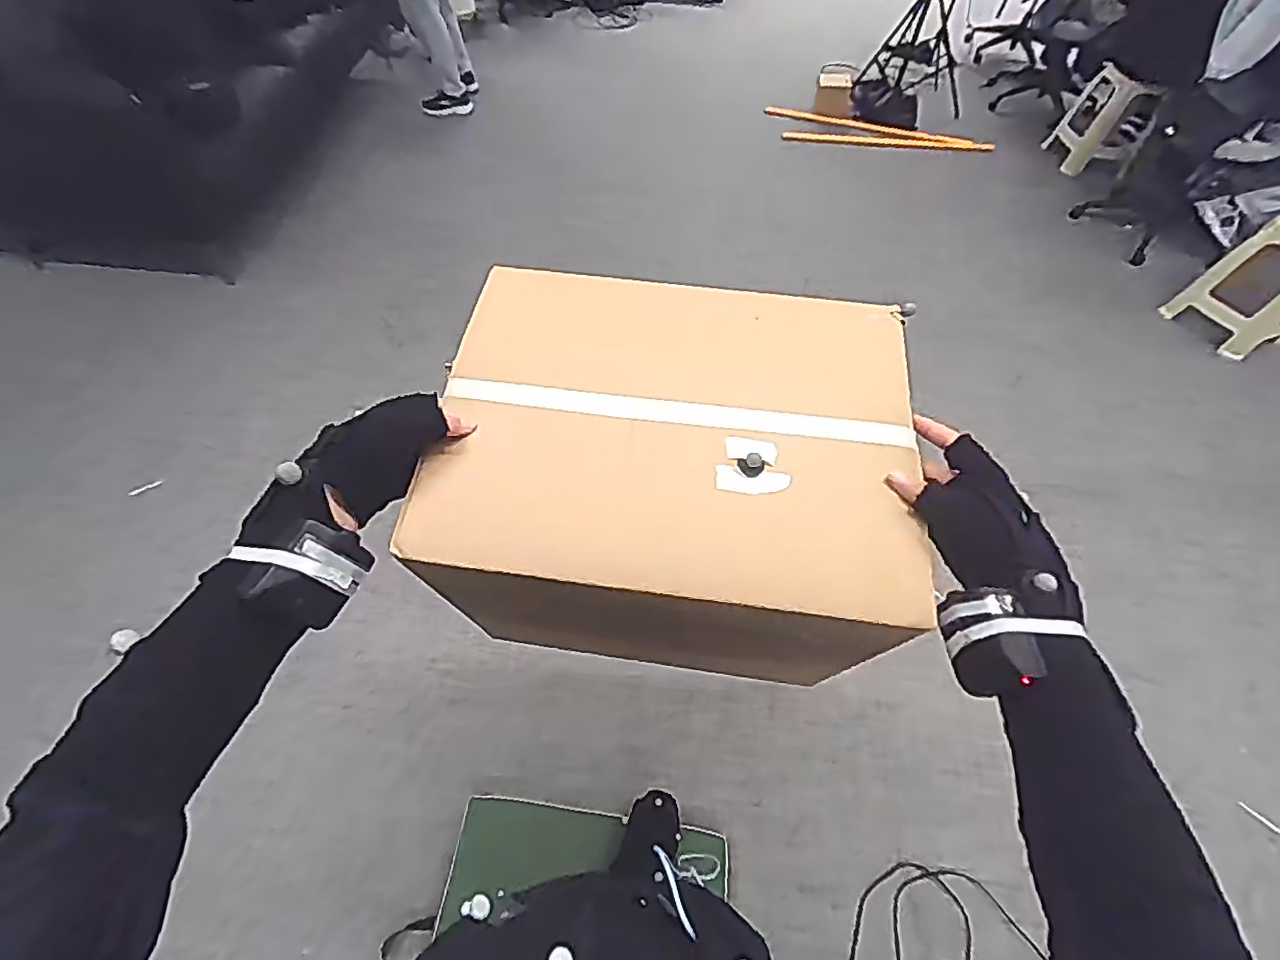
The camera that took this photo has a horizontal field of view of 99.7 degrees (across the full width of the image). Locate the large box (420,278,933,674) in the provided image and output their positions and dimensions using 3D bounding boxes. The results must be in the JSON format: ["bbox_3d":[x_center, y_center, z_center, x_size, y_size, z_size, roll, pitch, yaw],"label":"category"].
[{"bbox_3d":[0.037,0.014,0.611,0.408,0.320,0.320,7,63,3],"label":"large box"}]
